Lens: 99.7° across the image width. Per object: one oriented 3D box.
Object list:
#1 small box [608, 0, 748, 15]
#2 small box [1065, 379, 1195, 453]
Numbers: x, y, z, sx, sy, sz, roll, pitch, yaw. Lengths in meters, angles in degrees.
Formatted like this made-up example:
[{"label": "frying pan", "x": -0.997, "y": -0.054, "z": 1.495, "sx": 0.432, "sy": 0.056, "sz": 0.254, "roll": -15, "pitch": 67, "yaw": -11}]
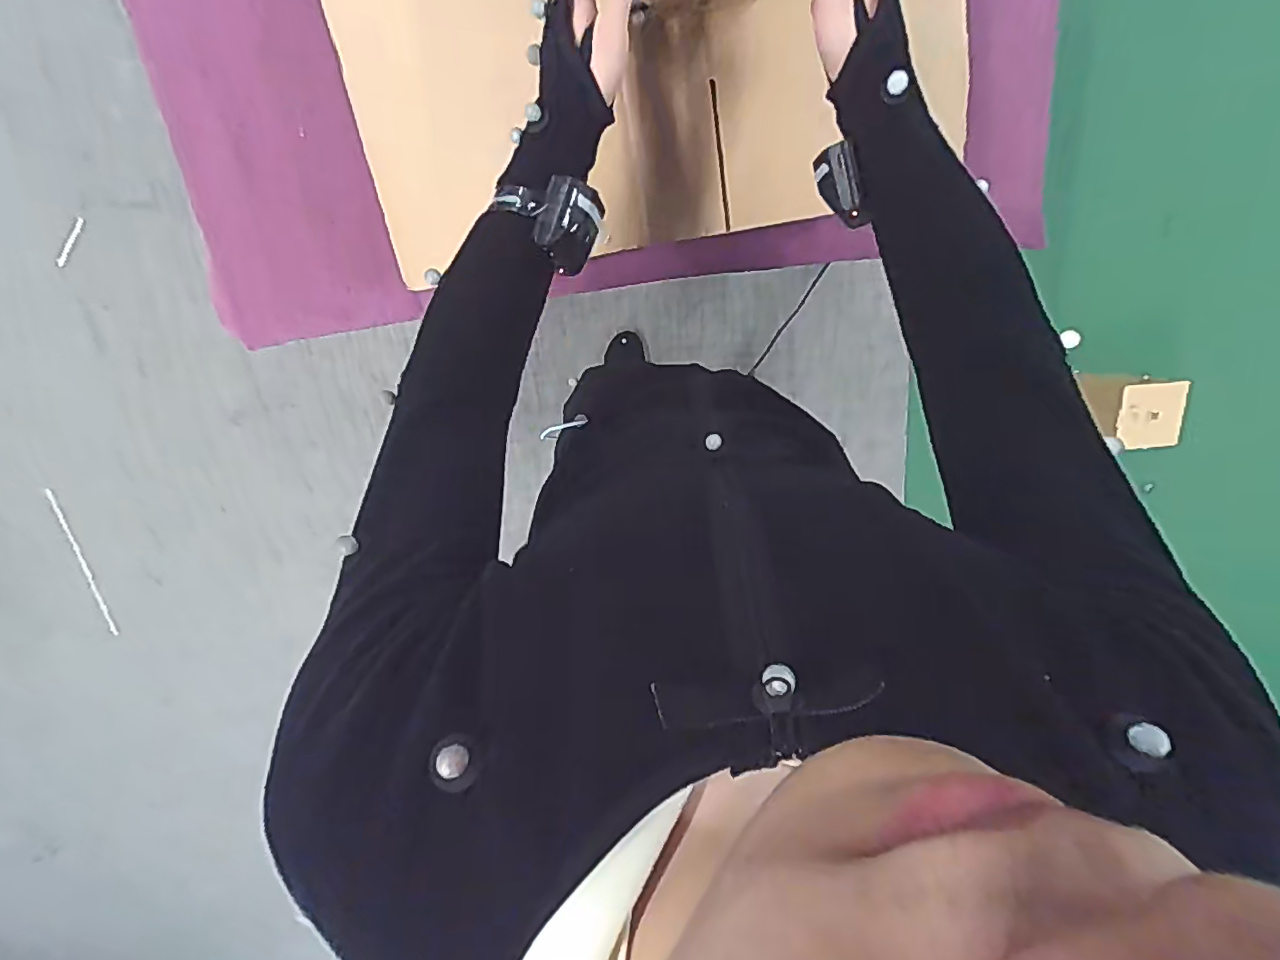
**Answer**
[{"label": "small box", "x": 0.039, "y": -0.542, "z": 0.462, "sx": 0.168, "sy": 0.176, "sz": 0.179, "roll": -11, "pitch": 106, "yaw": -3}, {"label": "small box", "x": 1.280, "y": -0.173, "z": 1.422, "sx": 0.179, "sy": 0.176, "sz": 0.168, "roll": -5, "pitch": 105, "yaw": -3}]
